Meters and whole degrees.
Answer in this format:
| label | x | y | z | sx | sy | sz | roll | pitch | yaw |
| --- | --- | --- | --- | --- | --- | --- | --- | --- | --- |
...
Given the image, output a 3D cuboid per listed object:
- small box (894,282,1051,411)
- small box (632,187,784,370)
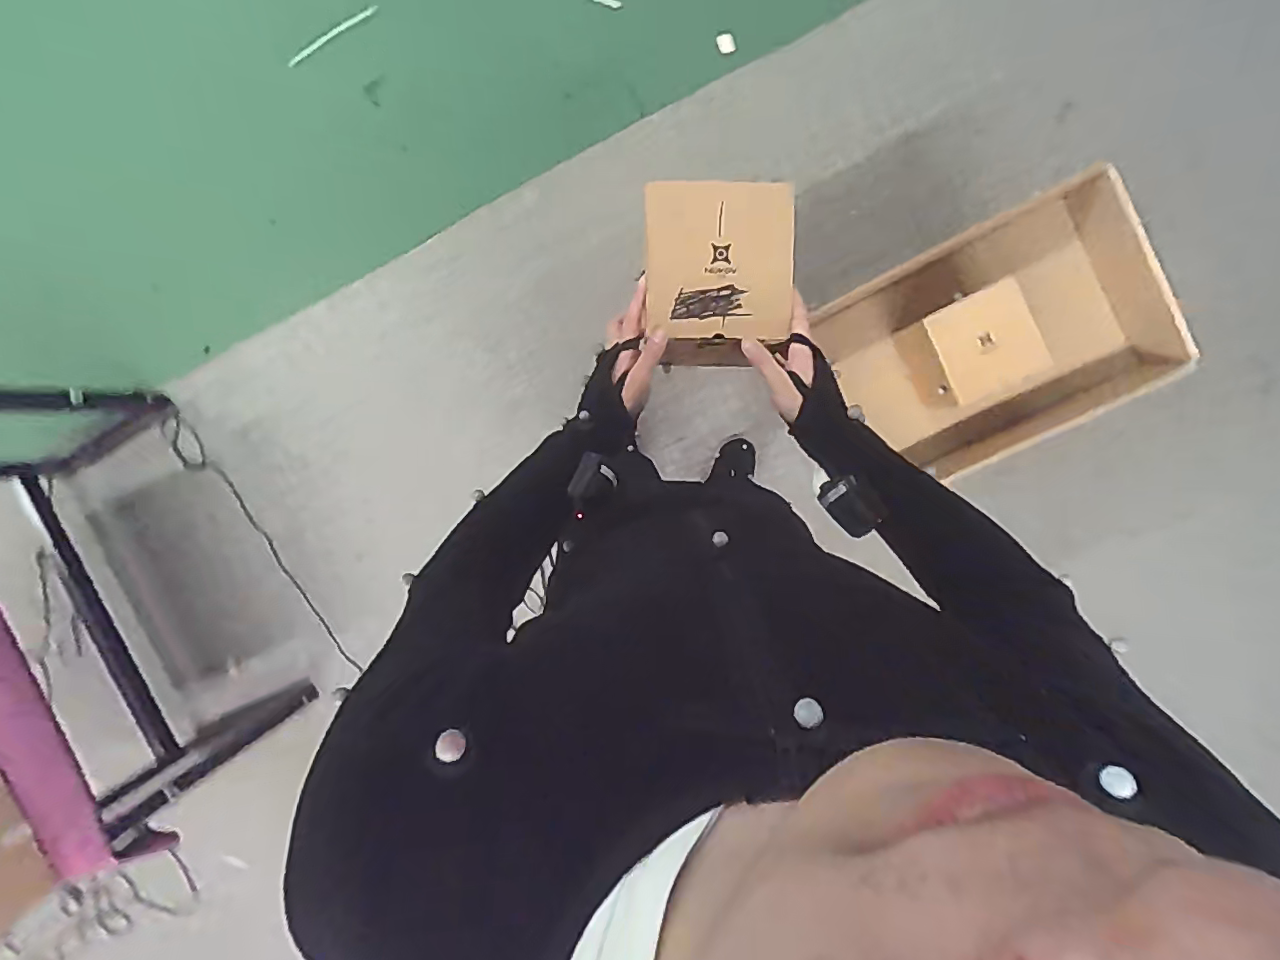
| label | x | y | z | sx | sy | sz | roll | pitch | yaw |
| --- | --- | --- | --- | --- | --- | --- | --- | --- | --- |
| small box | 0.615 | -0.241 | 1.025 | 0.168 | 0.176 | 0.179 | -26 | 93 | 9 |
| small box | 0.075 | -0.236 | 0.675 | 0.168 | 0.176 | 0.179 | -1 | 91 | -2 |
